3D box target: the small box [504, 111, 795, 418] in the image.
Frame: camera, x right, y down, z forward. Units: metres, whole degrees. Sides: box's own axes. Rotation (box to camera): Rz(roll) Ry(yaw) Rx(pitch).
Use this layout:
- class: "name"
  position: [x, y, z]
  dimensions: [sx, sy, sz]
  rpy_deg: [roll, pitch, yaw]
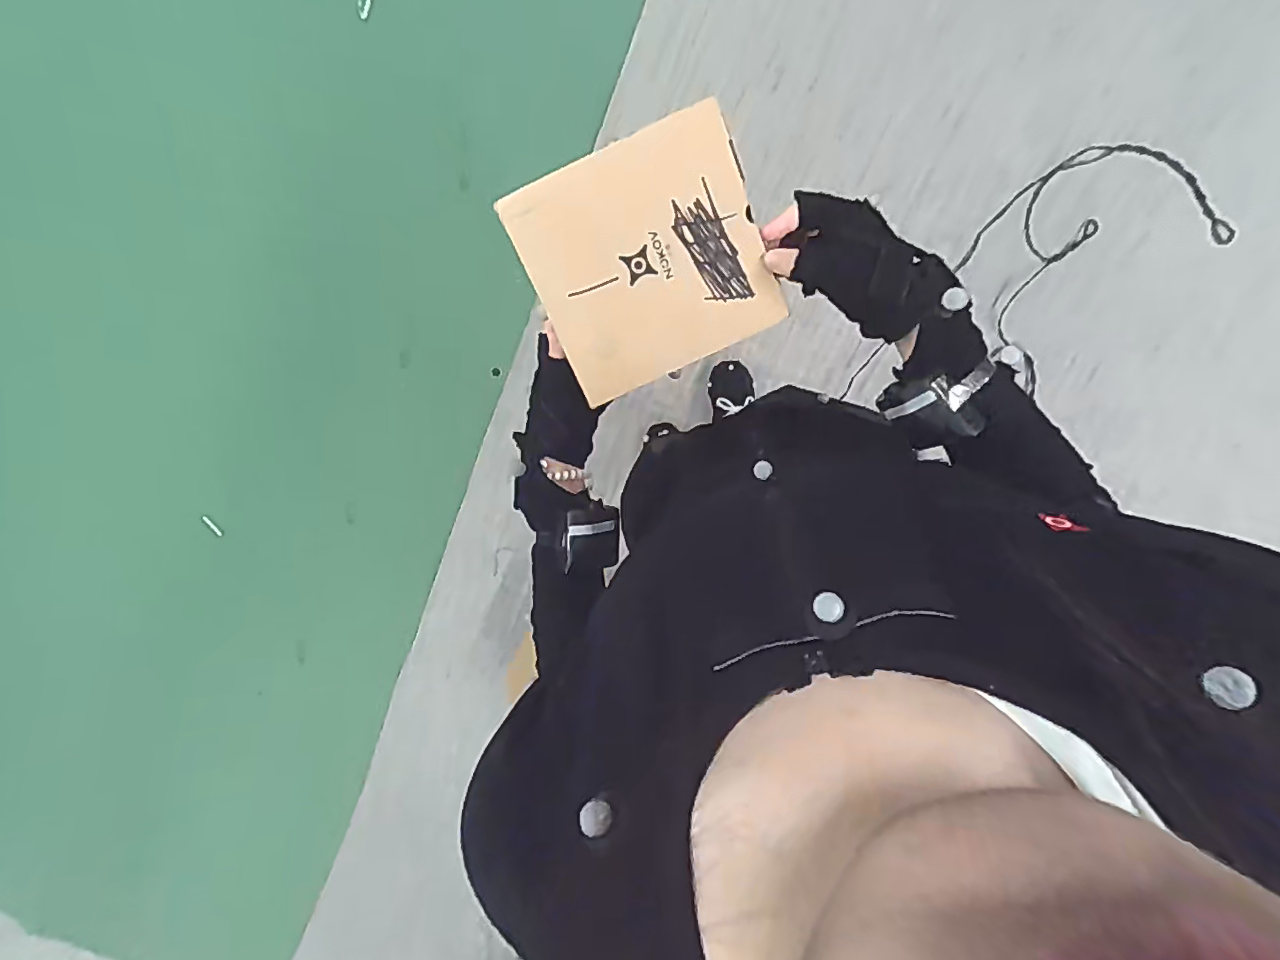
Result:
- class: "small box"
  position: [0.005, -0.176, 0.475]
  dimensions: [0.179, 0.176, 0.168]
  rpy_deg: [-24, 107, 3]
